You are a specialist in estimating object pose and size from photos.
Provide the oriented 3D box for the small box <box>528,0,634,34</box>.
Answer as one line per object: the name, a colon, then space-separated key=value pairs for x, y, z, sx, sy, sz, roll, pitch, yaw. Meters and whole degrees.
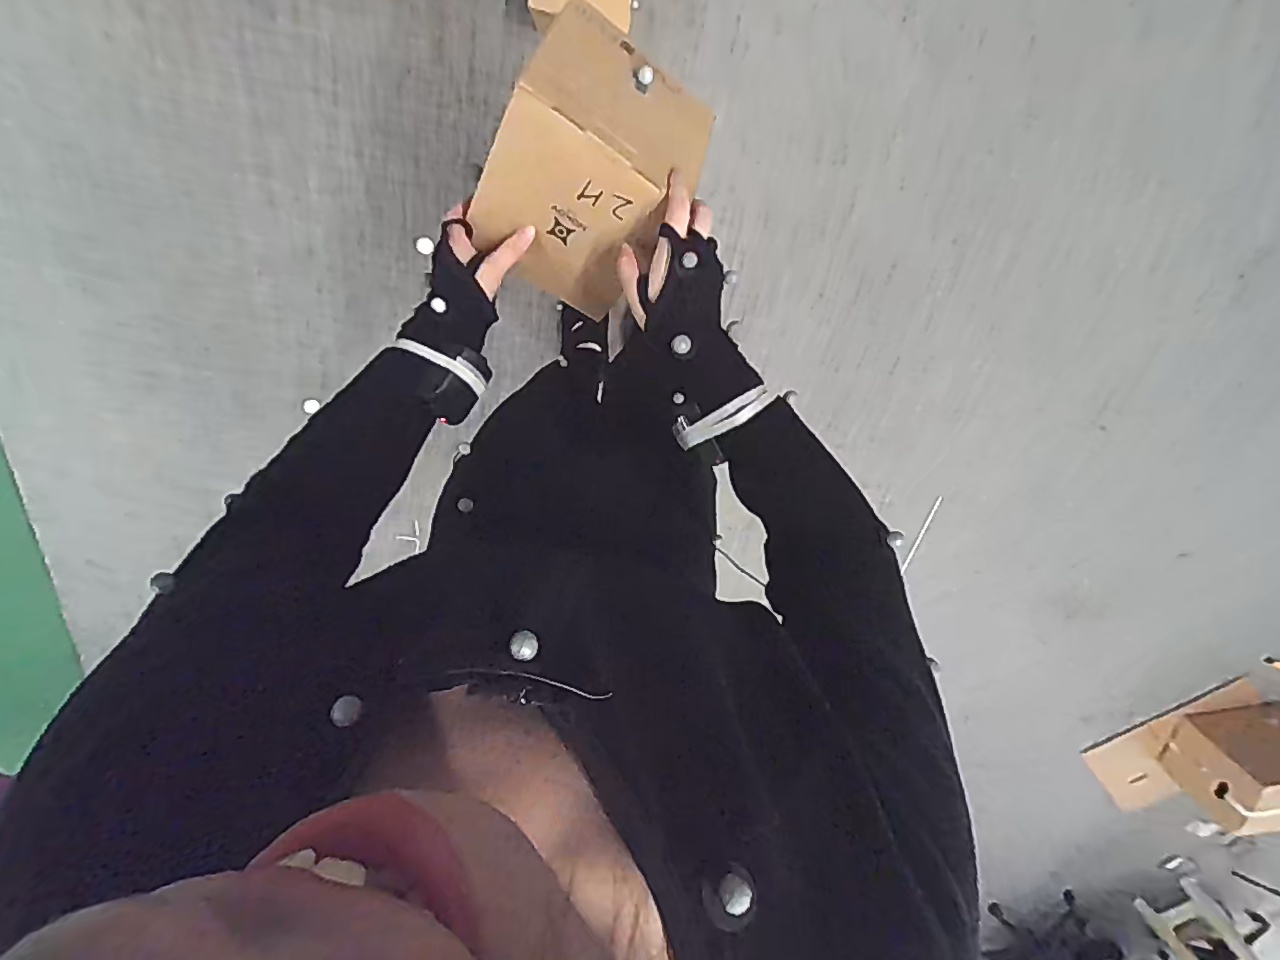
small box: x=-0.095 y=-0.892 z=0.960 sx=0.179 sy=0.176 sz=0.168 roll=8 pitch=117 yaw=-10

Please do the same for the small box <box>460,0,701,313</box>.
small box: x=-0.055 y=-0.316 z=0.549 sx=0.168 sy=0.176 sz=0.179 roll=27 pitch=148 yaw=-22
